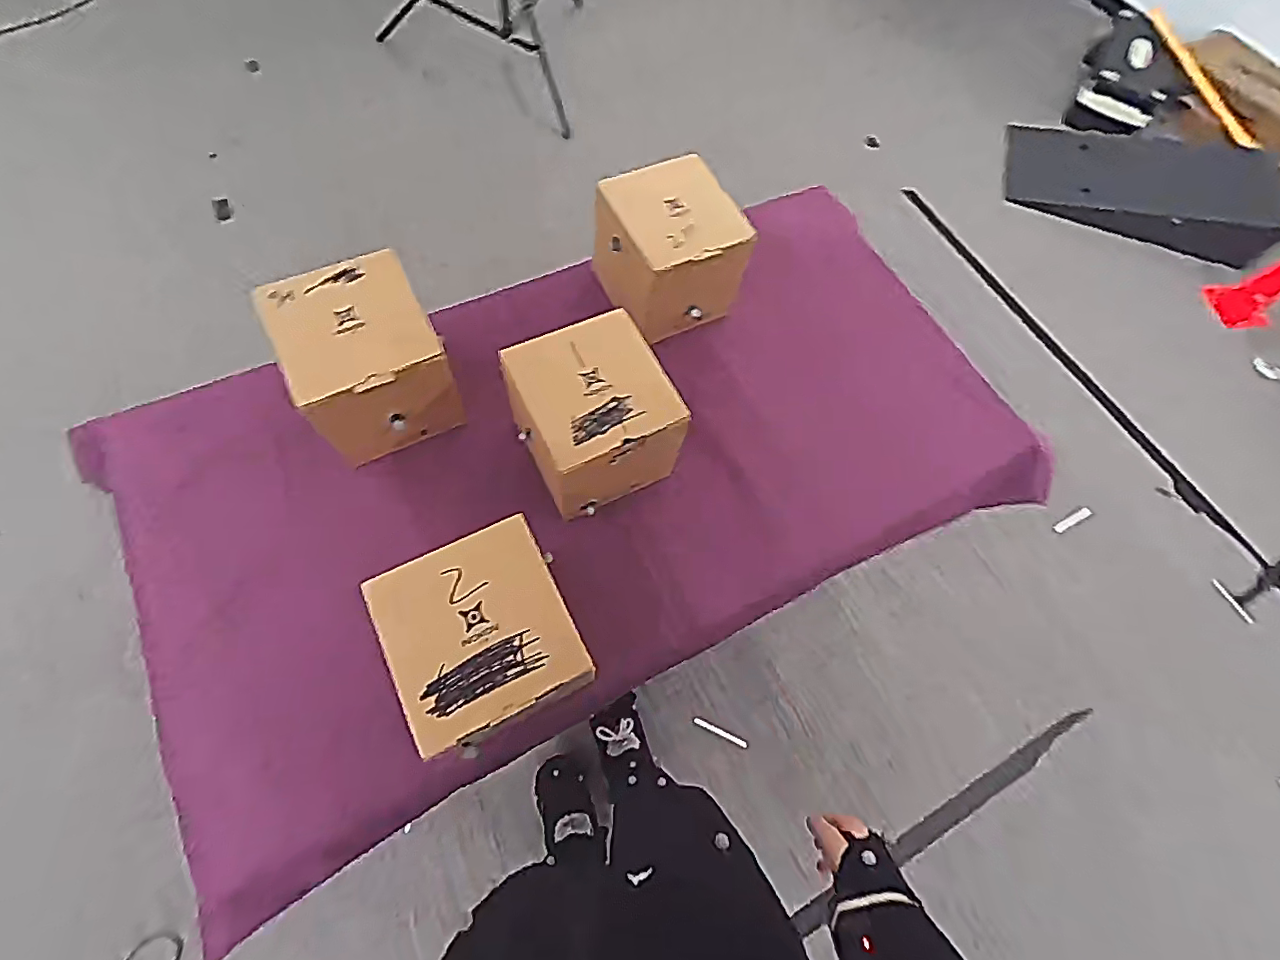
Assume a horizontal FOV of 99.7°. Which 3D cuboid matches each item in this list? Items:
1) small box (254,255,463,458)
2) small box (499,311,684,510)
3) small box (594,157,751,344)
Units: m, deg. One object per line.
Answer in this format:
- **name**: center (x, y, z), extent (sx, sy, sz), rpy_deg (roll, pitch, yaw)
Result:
- **small box**: center (-0.348, -0.147, 0.701), extent (0.168, 0.176, 0.179), rpy_deg (-26, 74, -16)
- **small box**: center (-0.063, -0.078, 0.704), extent (0.168, 0.176, 0.179), rpy_deg (-25, 71, -15)
- **small box**: center (0.036, -0.342, 0.824), extent (0.168, 0.176, 0.179), rpy_deg (-26, 73, -15)
